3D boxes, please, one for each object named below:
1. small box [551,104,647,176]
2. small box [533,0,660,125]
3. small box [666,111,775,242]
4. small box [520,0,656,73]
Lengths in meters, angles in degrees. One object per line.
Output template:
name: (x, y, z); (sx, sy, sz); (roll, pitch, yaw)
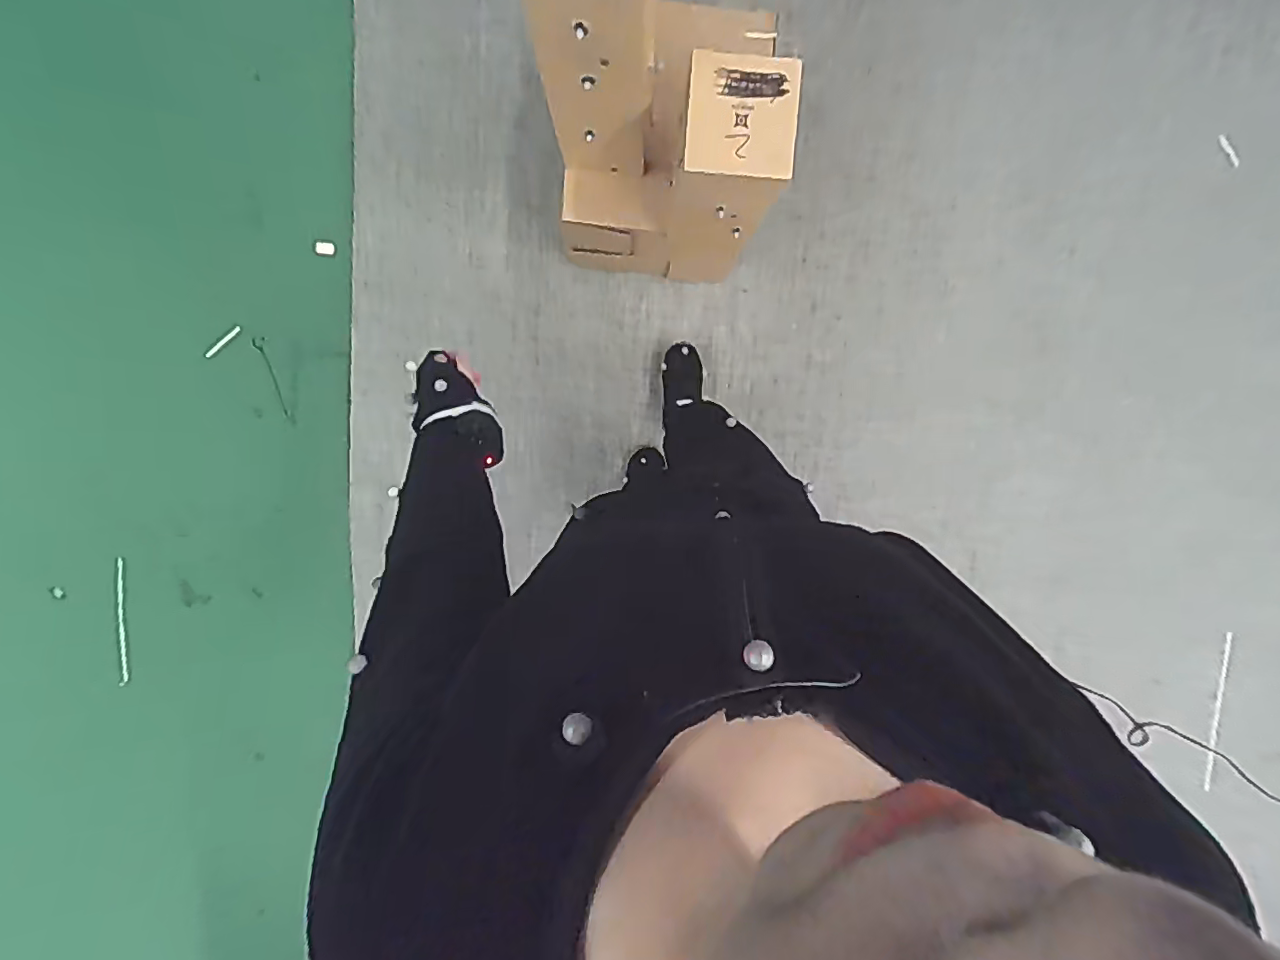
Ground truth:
small box: (-0.070, -0.717, 1.030); (0.168, 0.176, 0.179); (5, 94, 0)
small box: (-0.061, -0.699, 0.863); (0.179, 0.176, 0.168); (4, 95, 2)
small box: (0.147, -0.573, 1.043); (0.179, 0.176, 0.168); (3, 94, -1)
small box: (-0.060, -0.679, 0.701); (0.168, 0.176, 0.179); (10, 95, -1)
